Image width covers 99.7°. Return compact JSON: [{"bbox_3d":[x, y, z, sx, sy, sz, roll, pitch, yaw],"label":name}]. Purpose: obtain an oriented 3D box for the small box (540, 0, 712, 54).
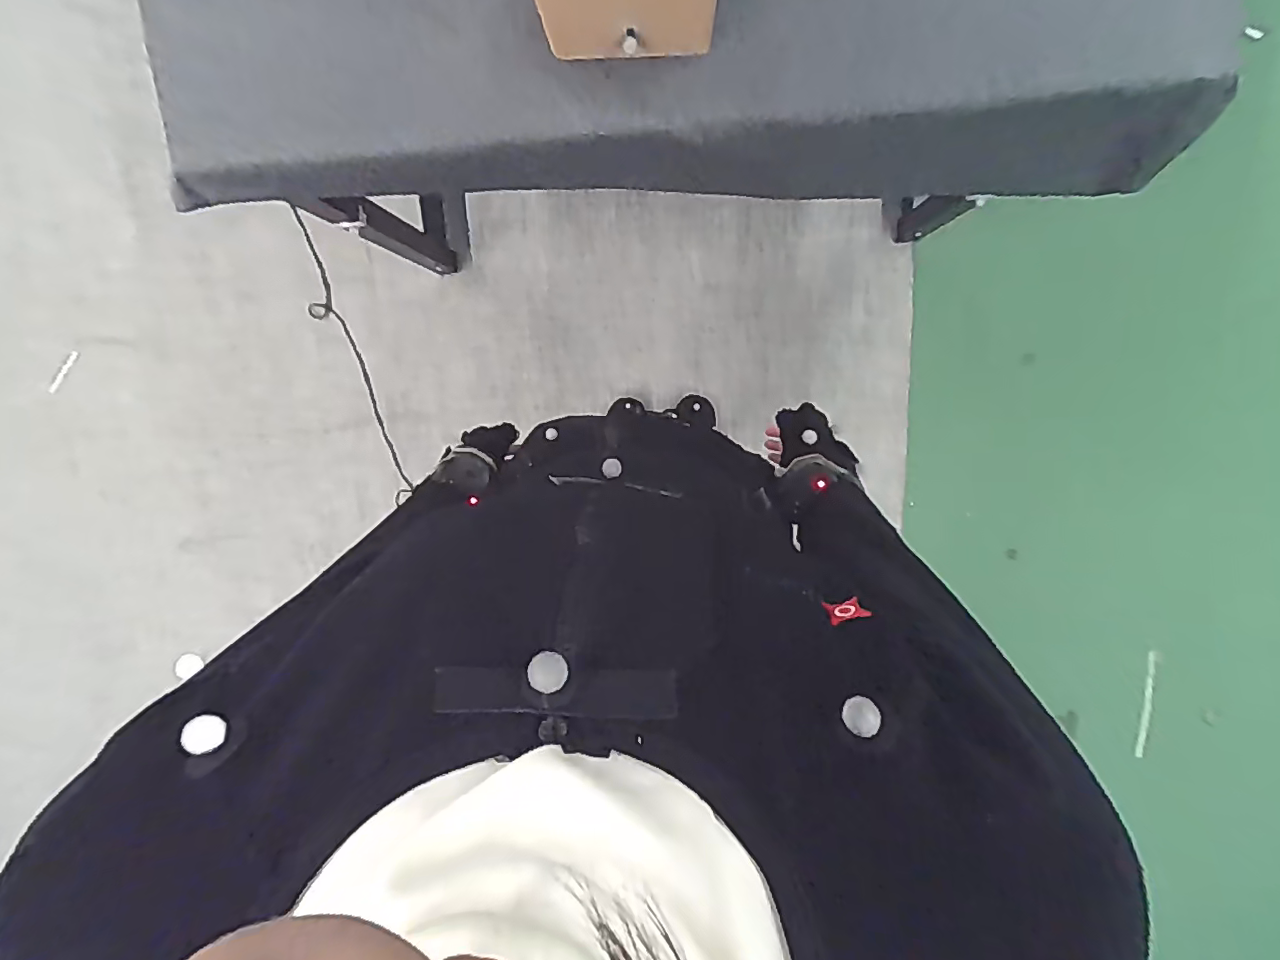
[{"bbox_3d":[-0.013,-0.548,0.518,0.179,0.176,0.168,0,99,2],"label":"small box"}]
